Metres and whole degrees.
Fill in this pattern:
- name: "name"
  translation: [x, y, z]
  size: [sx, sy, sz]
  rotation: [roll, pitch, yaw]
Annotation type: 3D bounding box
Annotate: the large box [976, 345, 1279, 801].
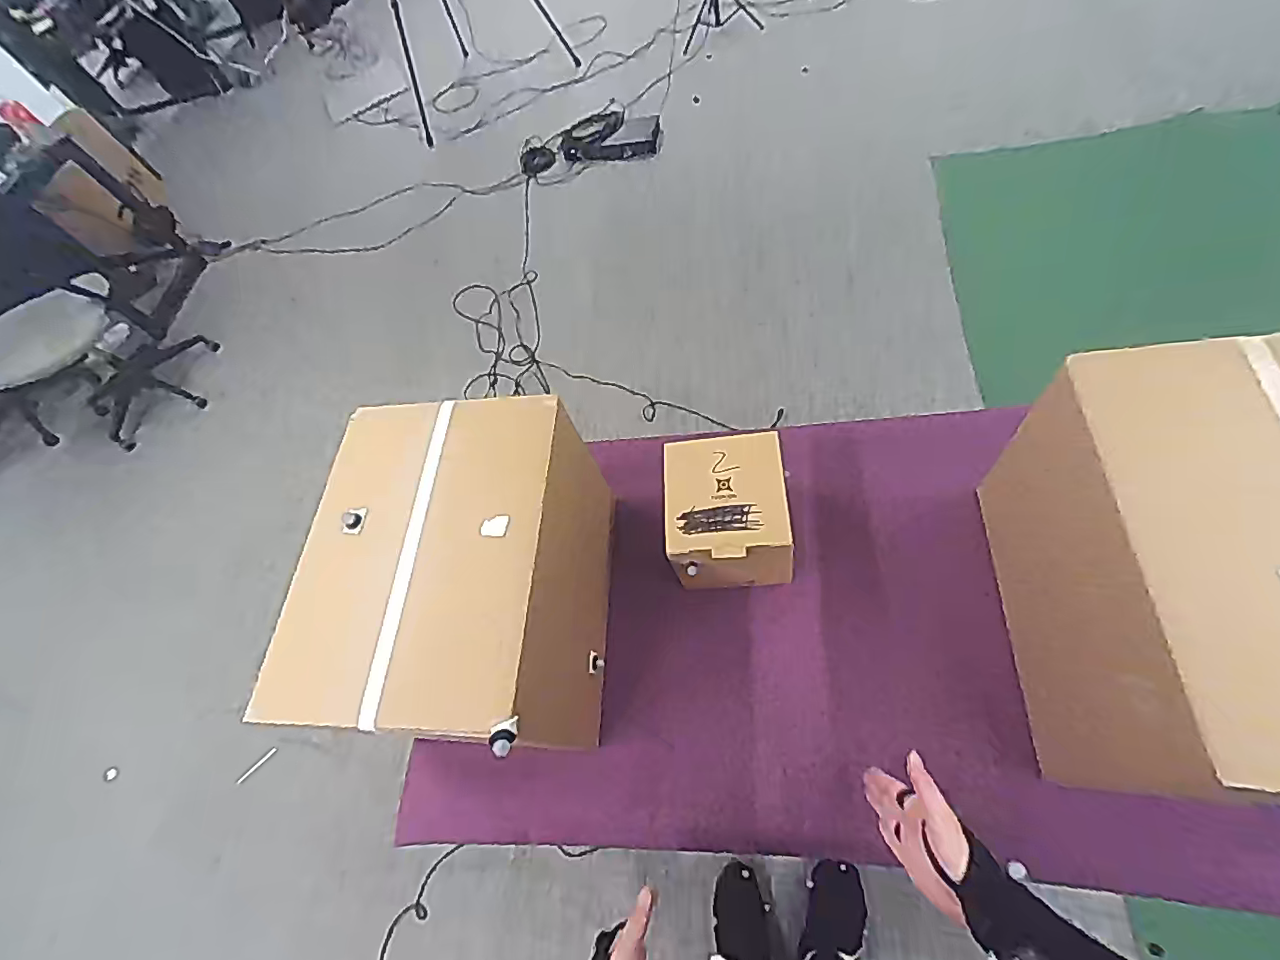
- name: "large box"
  translation: [0.616, 0.111, 0.578]
  size: [0.320, 0.320, 0.408]
  rotation: [-3, 62, 13]
